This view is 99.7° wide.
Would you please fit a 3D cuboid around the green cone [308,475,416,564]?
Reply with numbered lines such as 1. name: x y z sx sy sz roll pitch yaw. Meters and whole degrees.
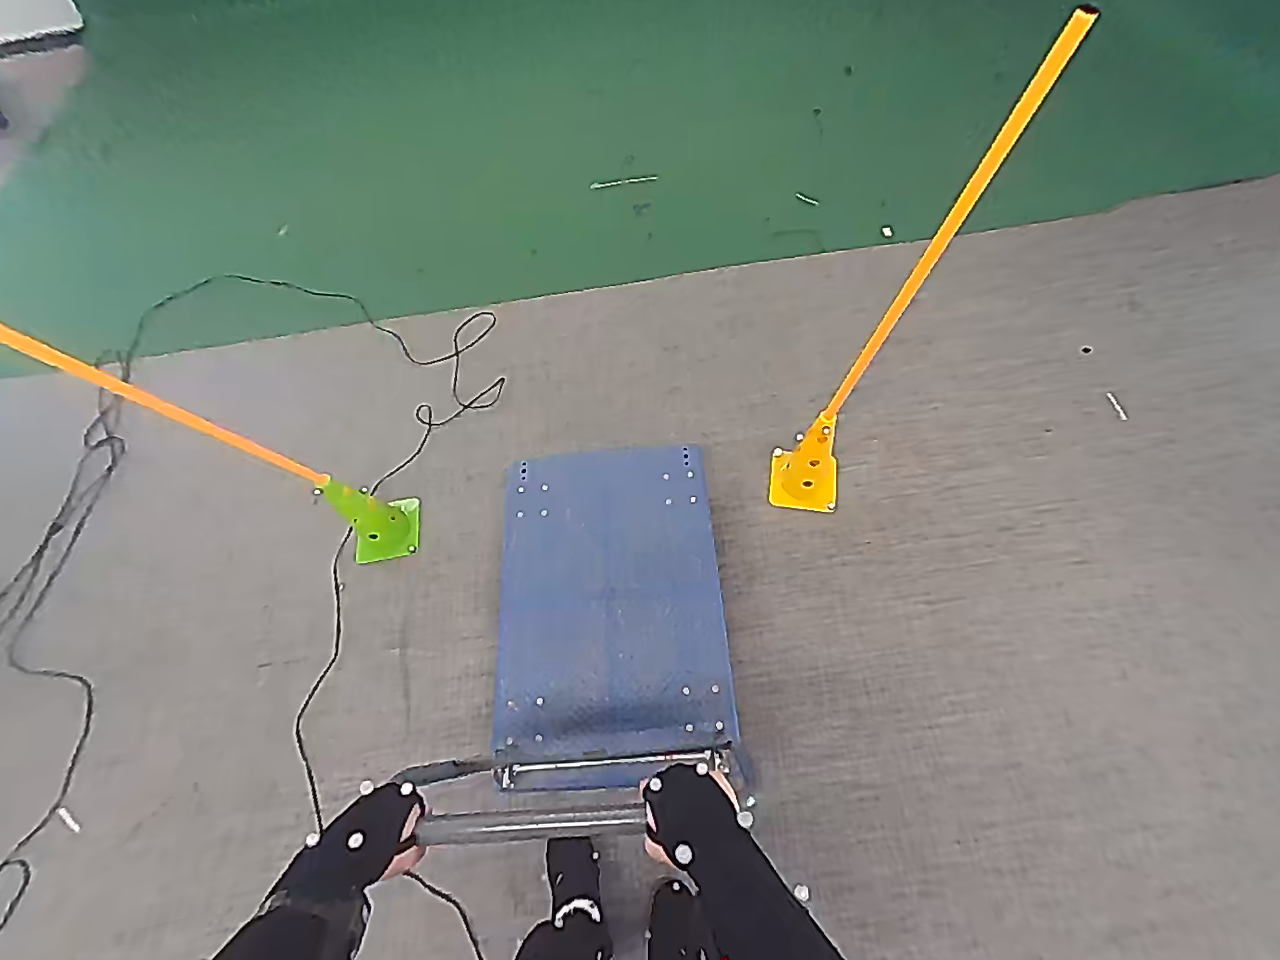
1. green cone: -0.836 0.082 1.587 0.202 0.368 0.200 -12 61 1
